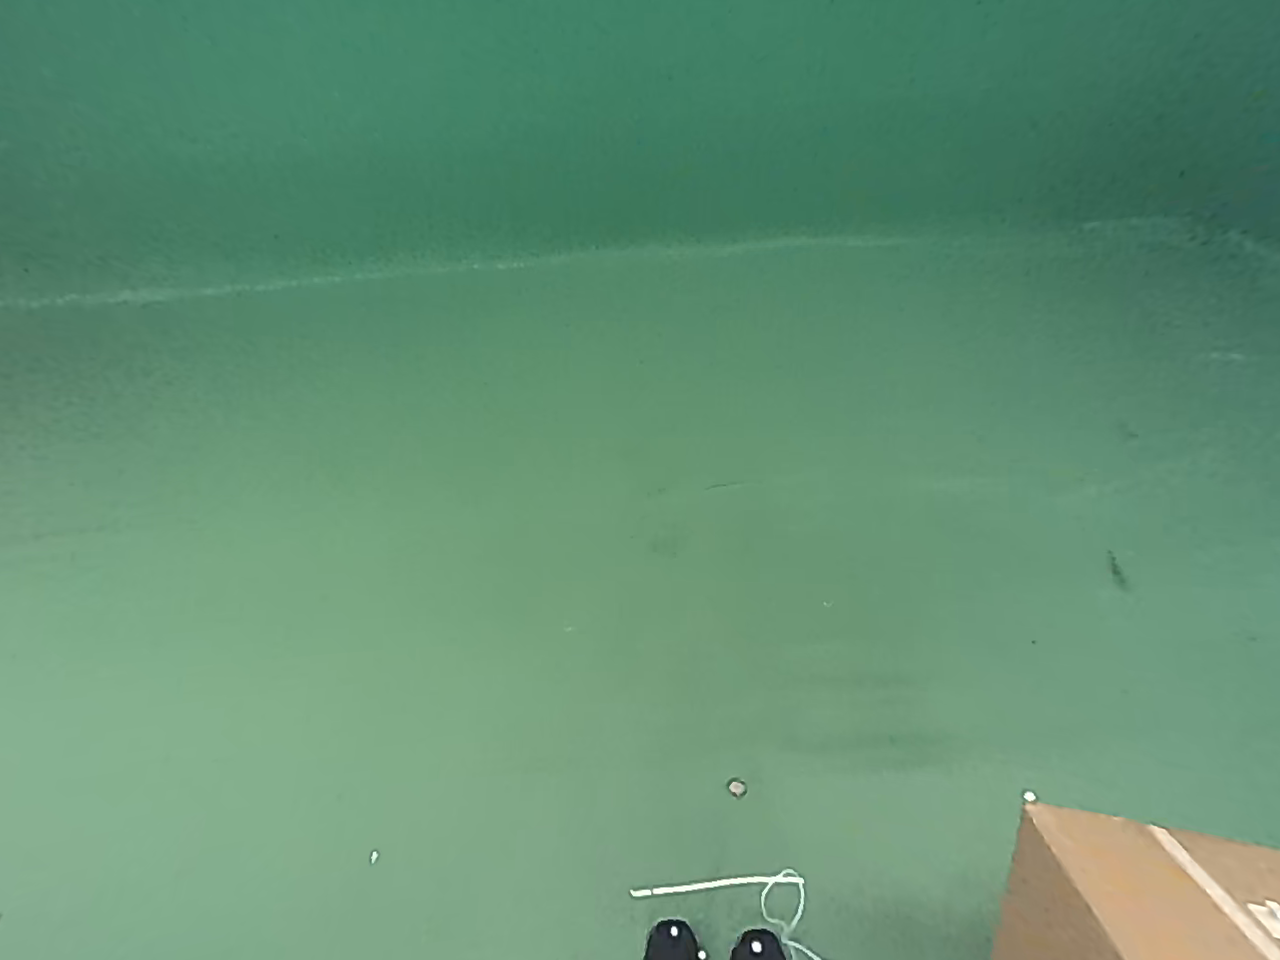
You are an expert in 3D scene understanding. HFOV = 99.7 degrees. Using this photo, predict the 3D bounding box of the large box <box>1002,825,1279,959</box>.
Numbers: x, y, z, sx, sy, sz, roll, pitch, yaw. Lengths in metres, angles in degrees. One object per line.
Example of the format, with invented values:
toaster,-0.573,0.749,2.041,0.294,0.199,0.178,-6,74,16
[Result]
large box,0.638,0.671,0.560,0.320,0.408,0.320,7,99,11
